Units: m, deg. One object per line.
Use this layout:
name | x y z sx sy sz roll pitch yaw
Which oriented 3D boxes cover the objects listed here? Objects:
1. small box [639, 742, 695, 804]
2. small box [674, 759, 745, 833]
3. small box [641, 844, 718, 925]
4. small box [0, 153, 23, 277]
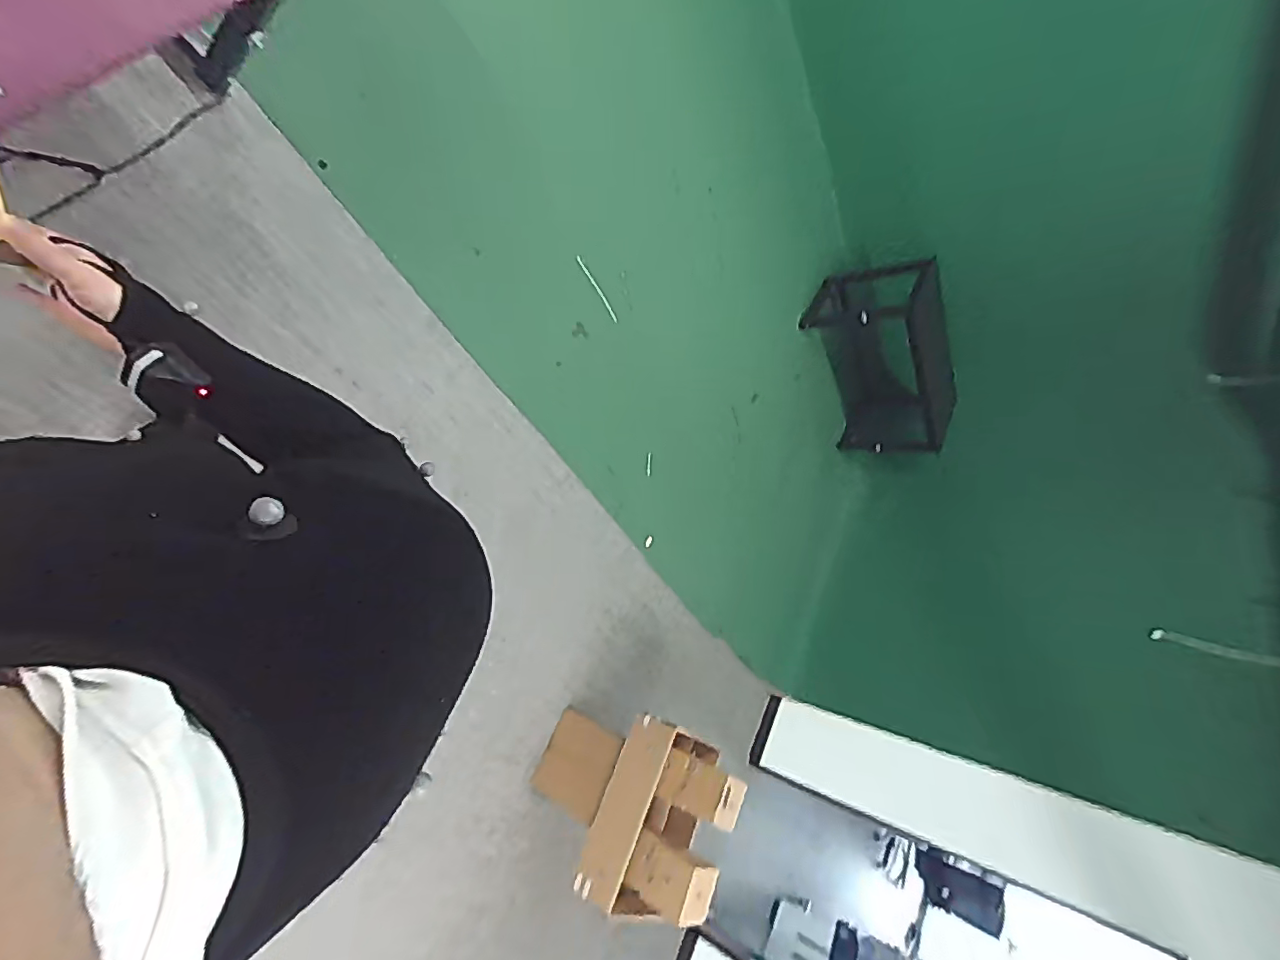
small box | 0.123 1.117 2.048 0.179 0.176 0.168 46 59 -42
small box | 0.248 1.128 1.942 0.179 0.176 0.168 51 56 -40
small box | 0.132 1.358 1.823 0.179 0.176 0.168 42 63 -42
small box | -0.598 -0.257 0.399 0.168 0.176 0.179 -14 109 -45
